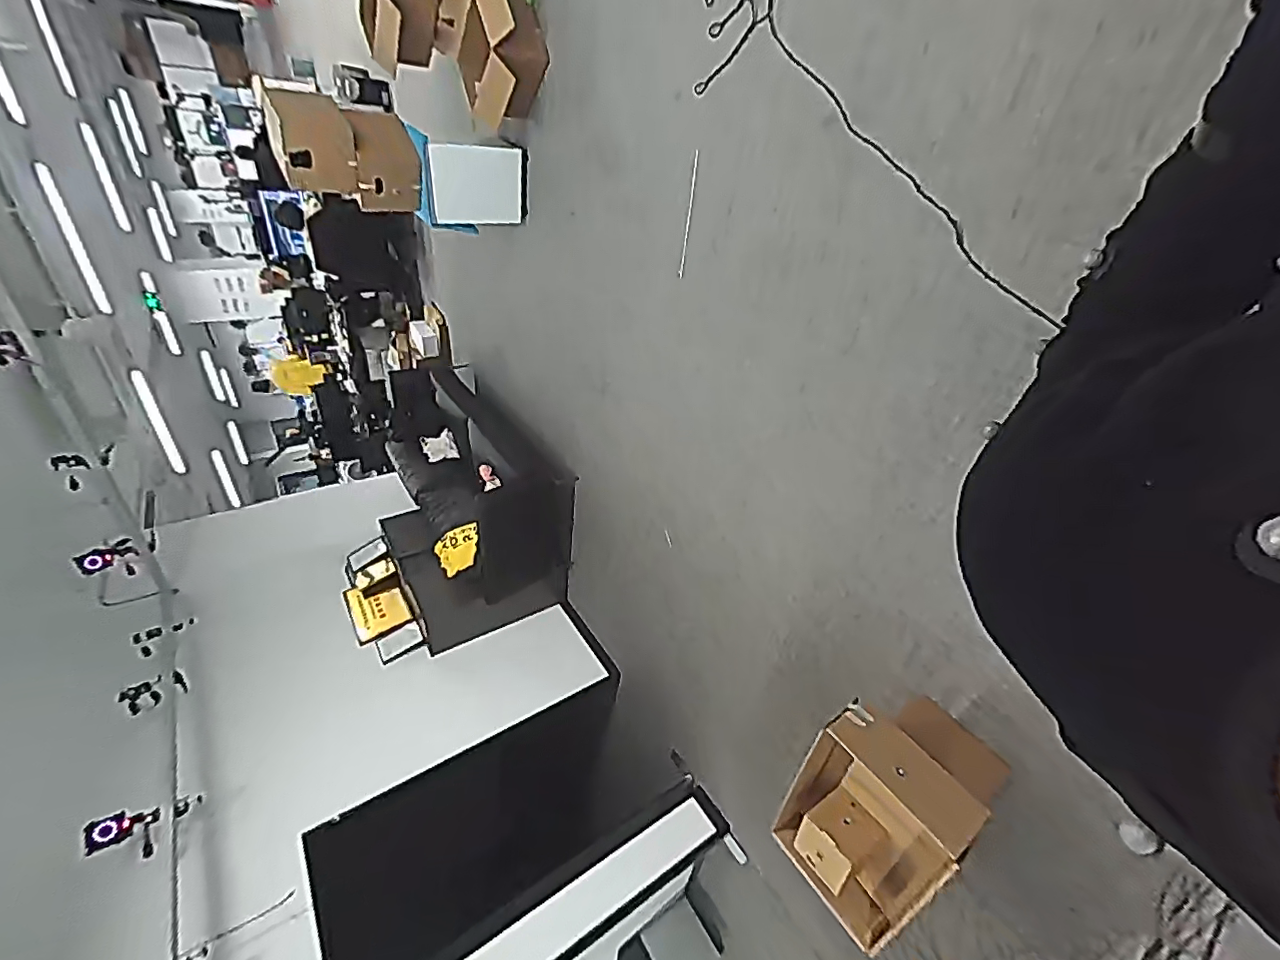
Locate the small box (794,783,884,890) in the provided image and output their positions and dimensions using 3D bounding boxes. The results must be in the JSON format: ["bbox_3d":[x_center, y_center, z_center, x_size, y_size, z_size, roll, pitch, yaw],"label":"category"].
[{"bbox_3d":[0.593,1.049,1.605,0.168,0.176,0.179,38,133,44],"label":"small box"}]
